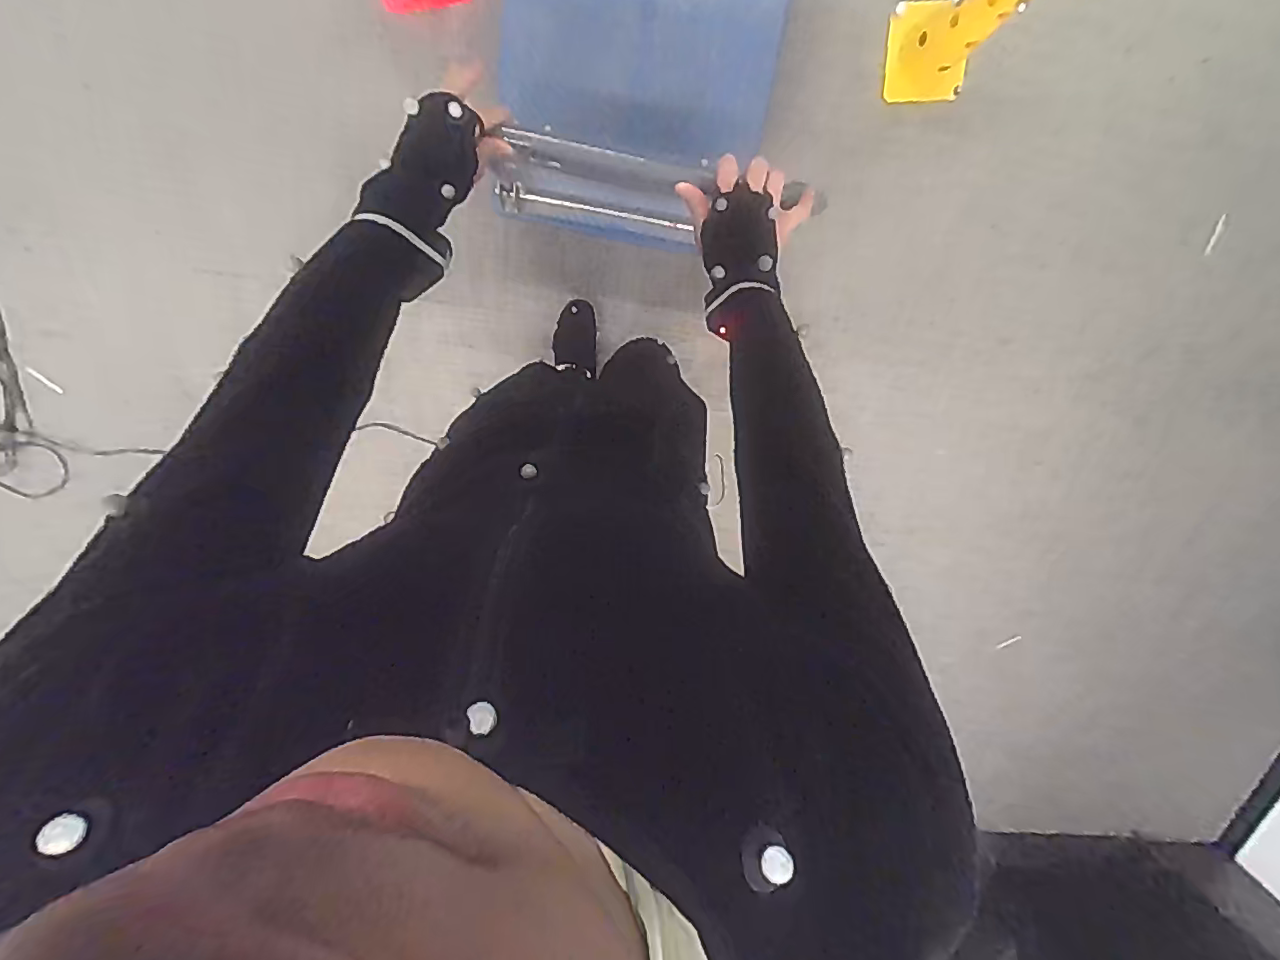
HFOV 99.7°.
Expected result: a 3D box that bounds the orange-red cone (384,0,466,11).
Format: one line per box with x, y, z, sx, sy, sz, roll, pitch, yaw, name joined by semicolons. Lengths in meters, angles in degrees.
-0.471;-1.081;1.010;0.199;0.360;0.198;-7;112;0;orange-red cone
